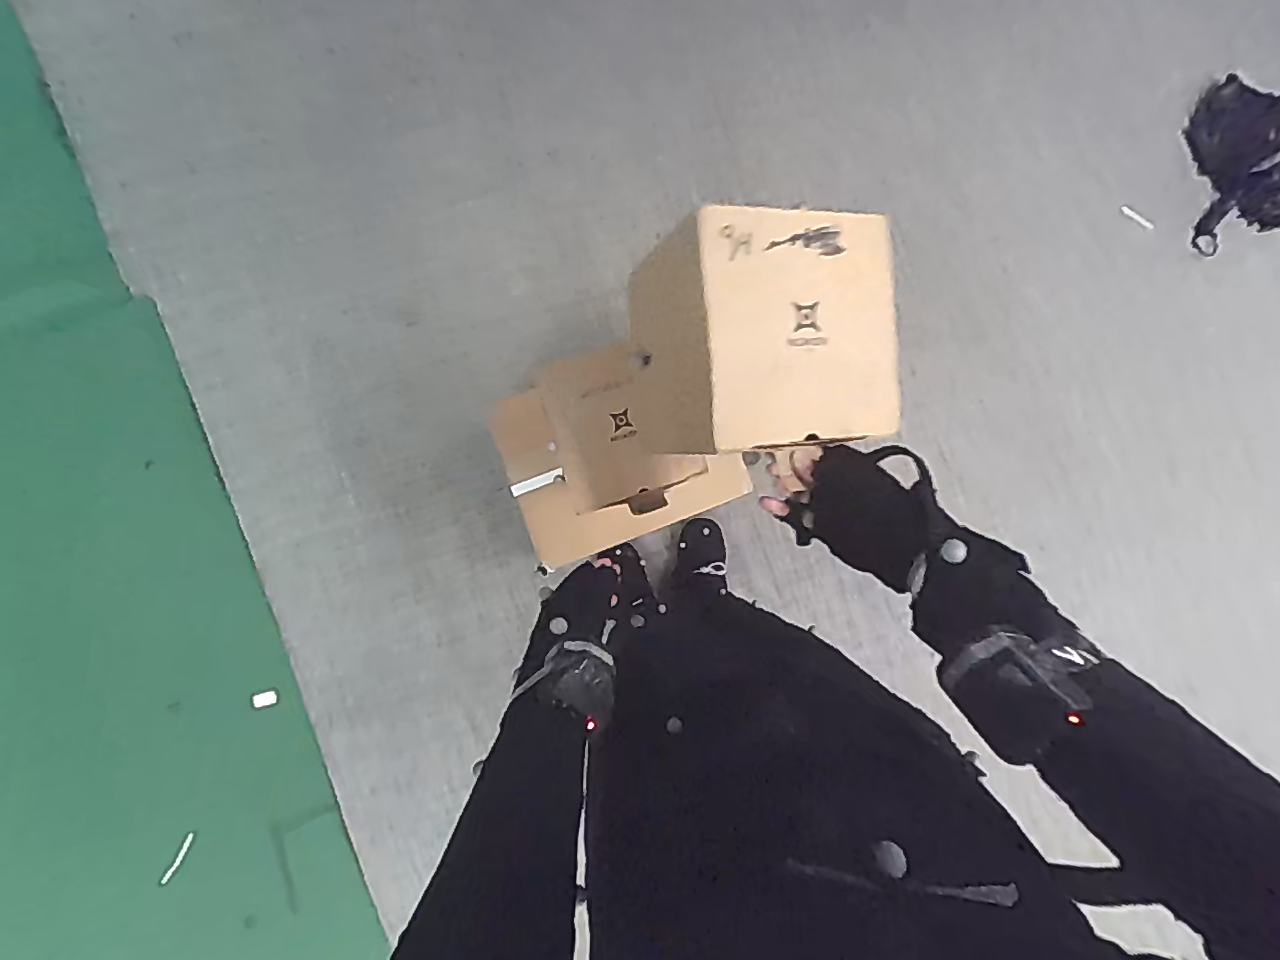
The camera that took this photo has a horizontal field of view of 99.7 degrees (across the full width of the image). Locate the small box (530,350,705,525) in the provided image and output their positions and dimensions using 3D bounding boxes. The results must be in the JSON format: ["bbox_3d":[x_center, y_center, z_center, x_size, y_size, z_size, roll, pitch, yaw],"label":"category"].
[{"bbox_3d":[-0.033,-0.058,0.706,0.168,0.176,0.179,-19,95,-6],"label":"small box"}]

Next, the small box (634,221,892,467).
[{"bbox_3d":[0.098,-0.109,0.486,0.168,0.176,0.179,-6,96,-18],"label":"small box"}]
